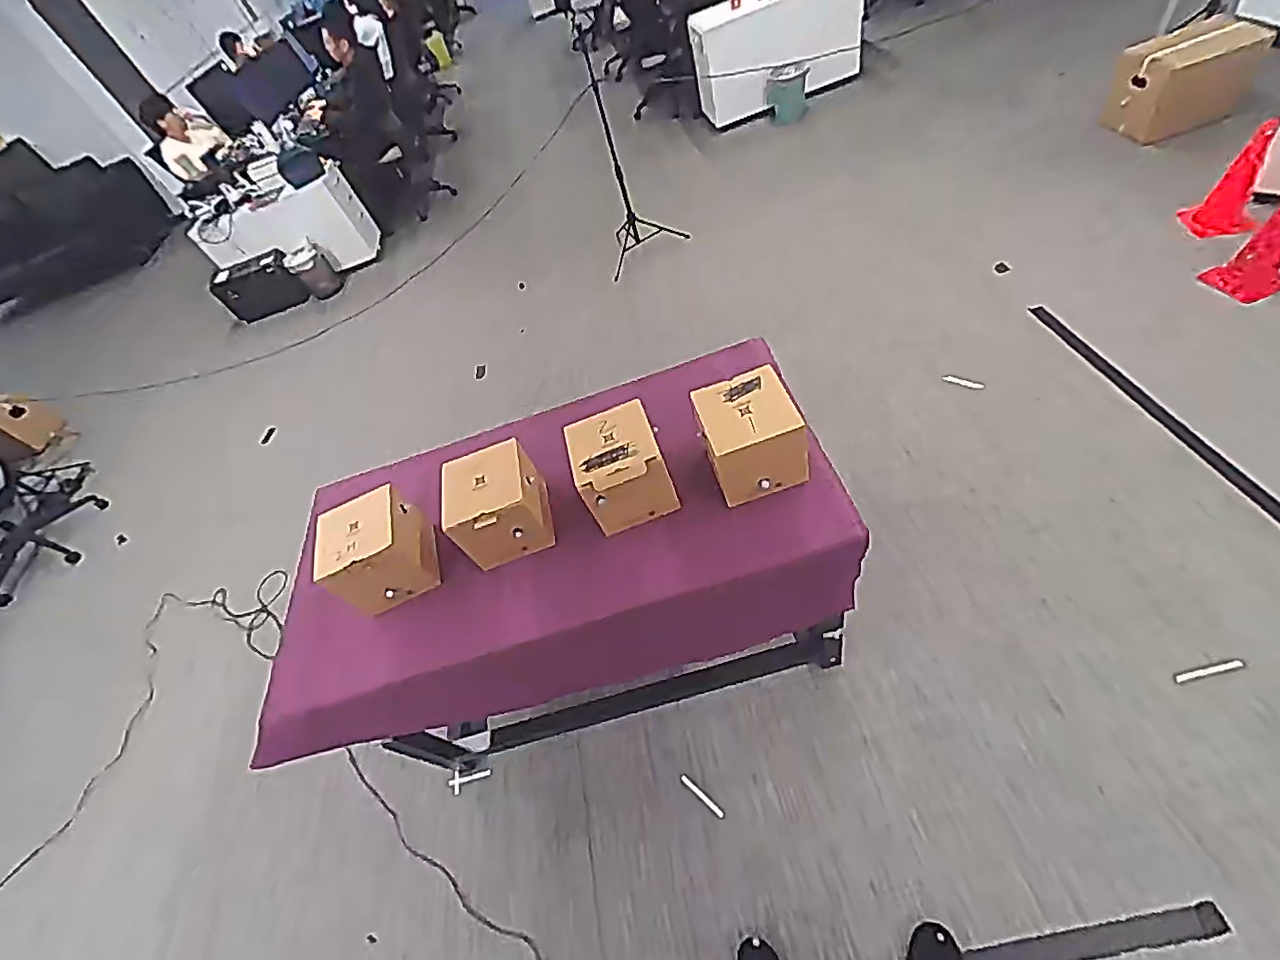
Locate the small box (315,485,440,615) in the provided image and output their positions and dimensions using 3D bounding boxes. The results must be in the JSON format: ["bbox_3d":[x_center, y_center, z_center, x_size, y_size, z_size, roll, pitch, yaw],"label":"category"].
[{"bbox_3d":[-0.540,0.149,1.127,0.168,0.176,0.179,-26,50,-1],"label":"small box"}]

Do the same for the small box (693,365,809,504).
[{"bbox_3d":[0.214,-0.084,1.042,0.168,0.176,0.179,-20,51,5],"label":"small box"}]

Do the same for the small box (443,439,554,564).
[{"bbox_3d":[-0.288,0.053,1.116,0.168,0.176,0.179,-20,50,3],"label":"small box"}]
